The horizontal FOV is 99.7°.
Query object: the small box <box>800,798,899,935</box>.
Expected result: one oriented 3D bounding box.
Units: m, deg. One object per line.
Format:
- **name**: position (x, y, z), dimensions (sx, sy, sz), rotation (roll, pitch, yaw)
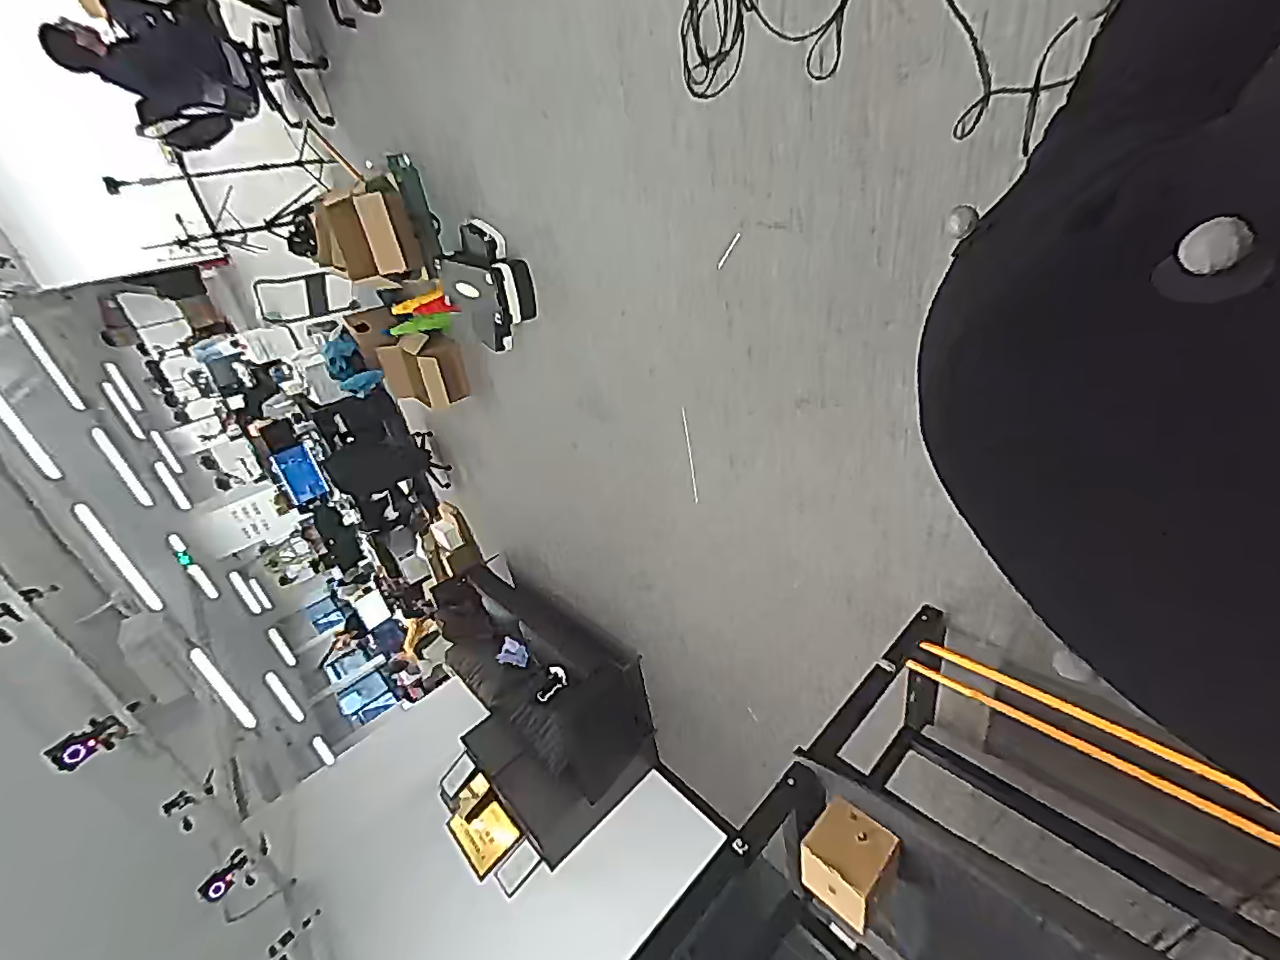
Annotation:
- **small box**: position (0.508, 0.926, 1.308), dimensions (0.168, 0.176, 0.179), rotation (21, 131, 45)
